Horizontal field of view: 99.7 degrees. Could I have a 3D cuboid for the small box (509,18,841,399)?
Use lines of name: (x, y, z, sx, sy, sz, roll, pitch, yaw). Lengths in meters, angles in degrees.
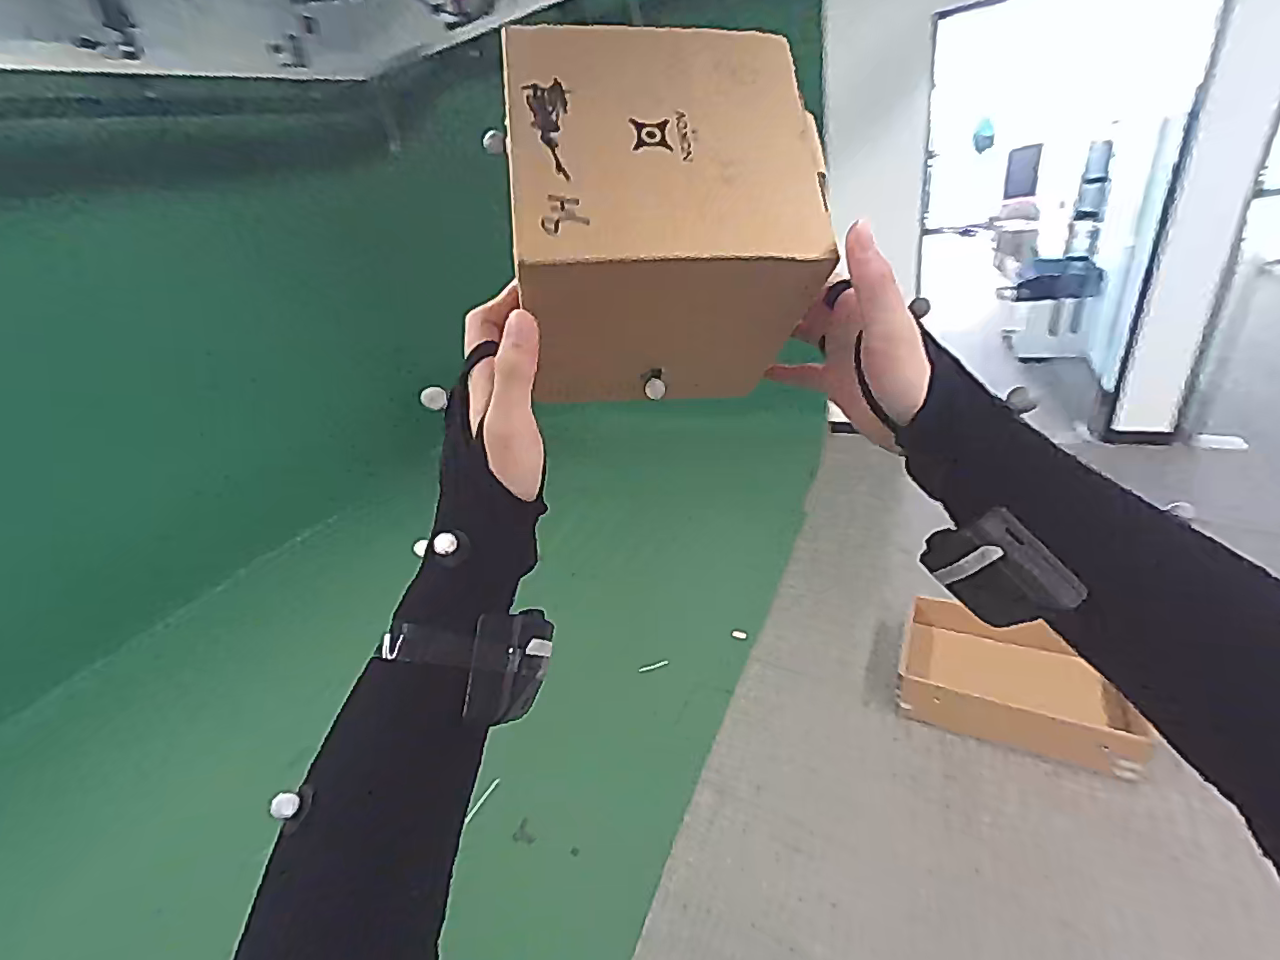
small box: (0.007, -0.166, 0.376, 0.179, 0.168, 0.176, -4, -16, -8)
